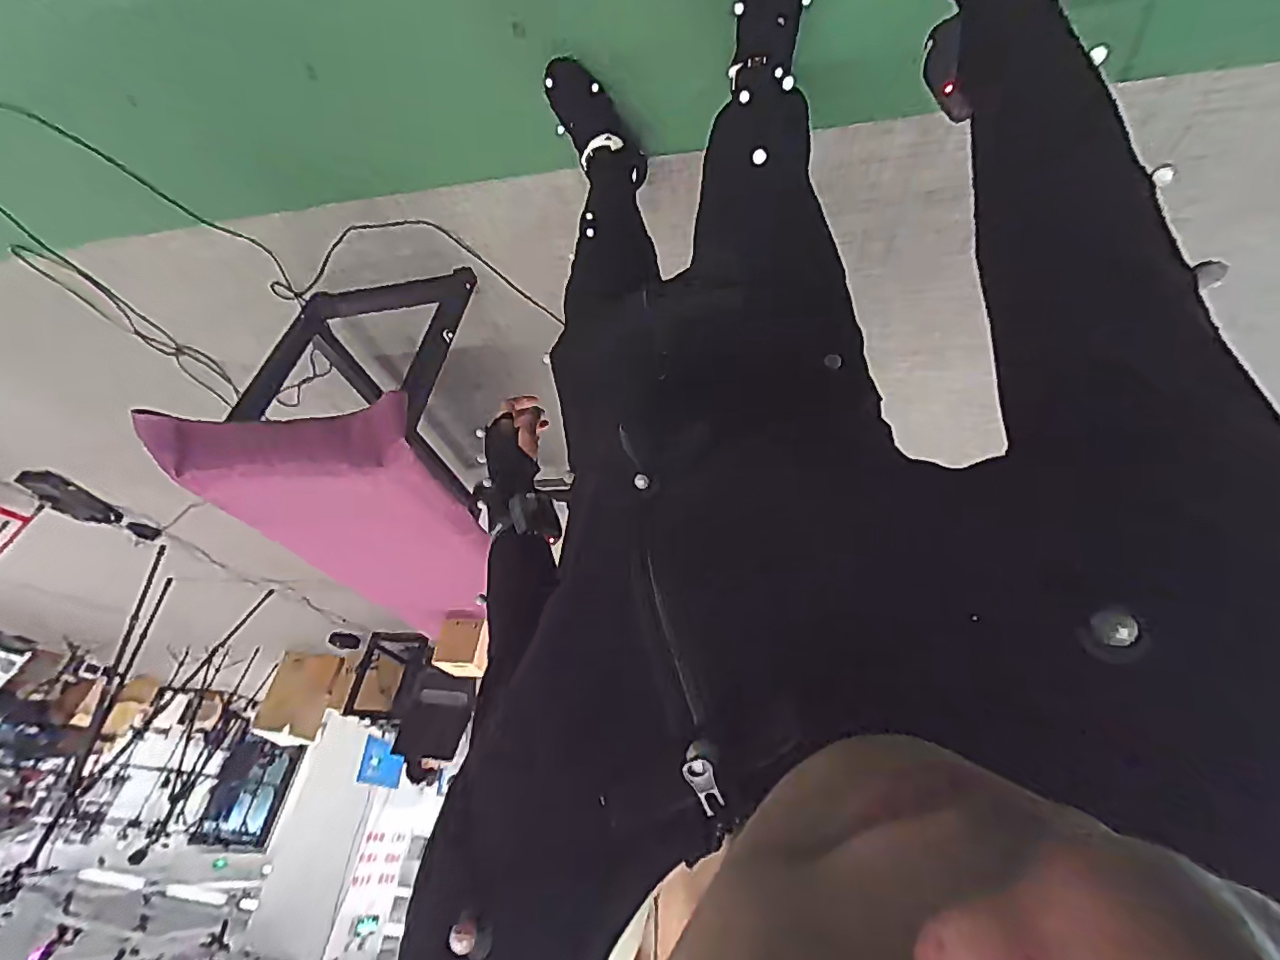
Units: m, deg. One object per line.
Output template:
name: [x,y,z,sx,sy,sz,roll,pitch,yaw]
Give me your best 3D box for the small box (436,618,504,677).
small box: [-0.628,0.624,2.016,0.168,0.176,0.179,-1,147,13]
